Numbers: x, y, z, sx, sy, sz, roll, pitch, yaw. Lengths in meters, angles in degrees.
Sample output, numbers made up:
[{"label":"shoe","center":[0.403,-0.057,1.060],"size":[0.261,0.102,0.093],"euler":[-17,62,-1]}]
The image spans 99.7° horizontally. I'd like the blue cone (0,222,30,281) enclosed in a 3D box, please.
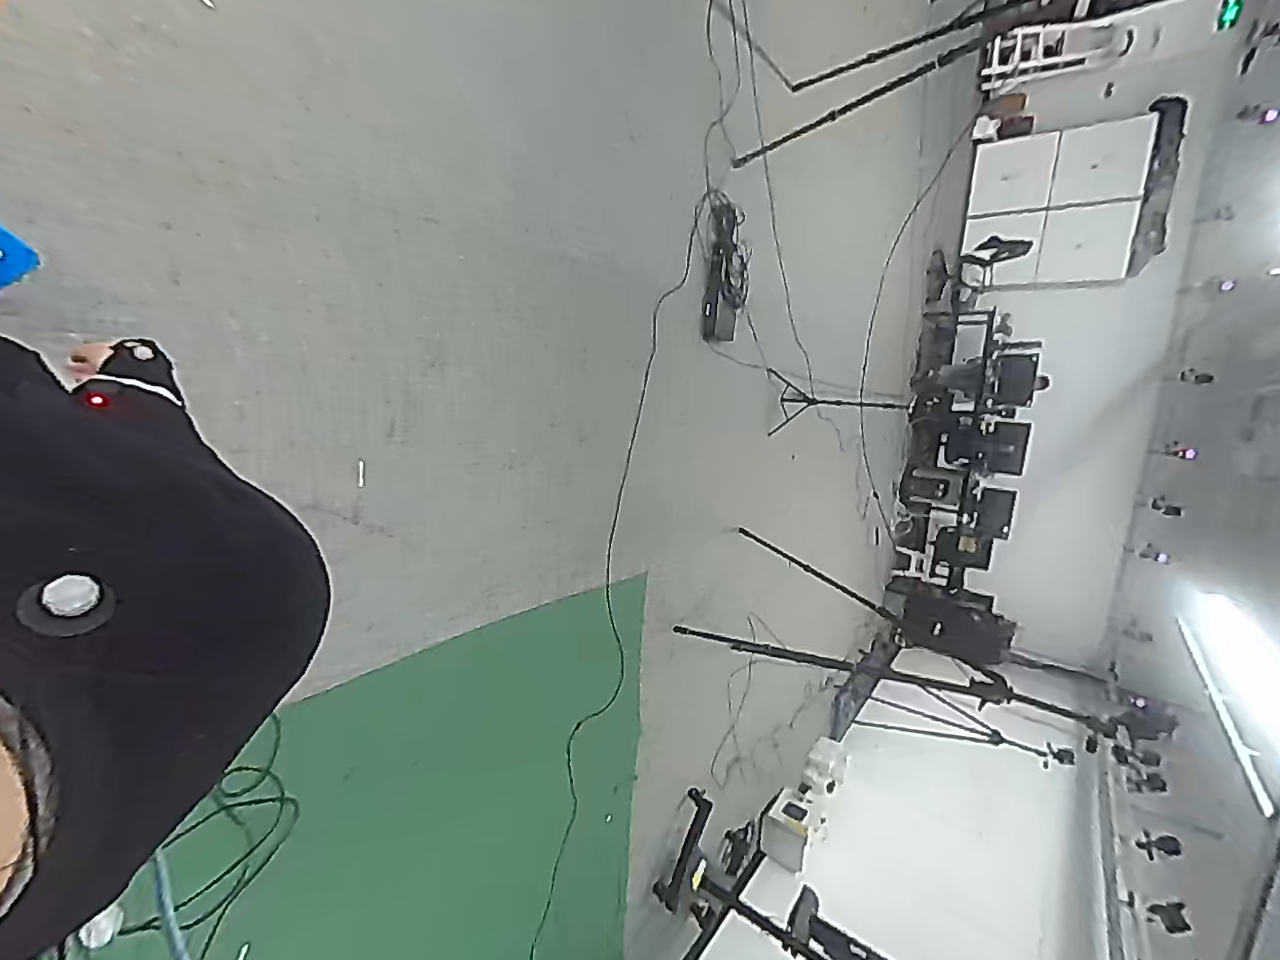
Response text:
[{"label":"blue cone","center":[-1.041,-0.377,0.785],"size":[0.193,0.380,0.192],"euler":[-61,139,-25]}]
